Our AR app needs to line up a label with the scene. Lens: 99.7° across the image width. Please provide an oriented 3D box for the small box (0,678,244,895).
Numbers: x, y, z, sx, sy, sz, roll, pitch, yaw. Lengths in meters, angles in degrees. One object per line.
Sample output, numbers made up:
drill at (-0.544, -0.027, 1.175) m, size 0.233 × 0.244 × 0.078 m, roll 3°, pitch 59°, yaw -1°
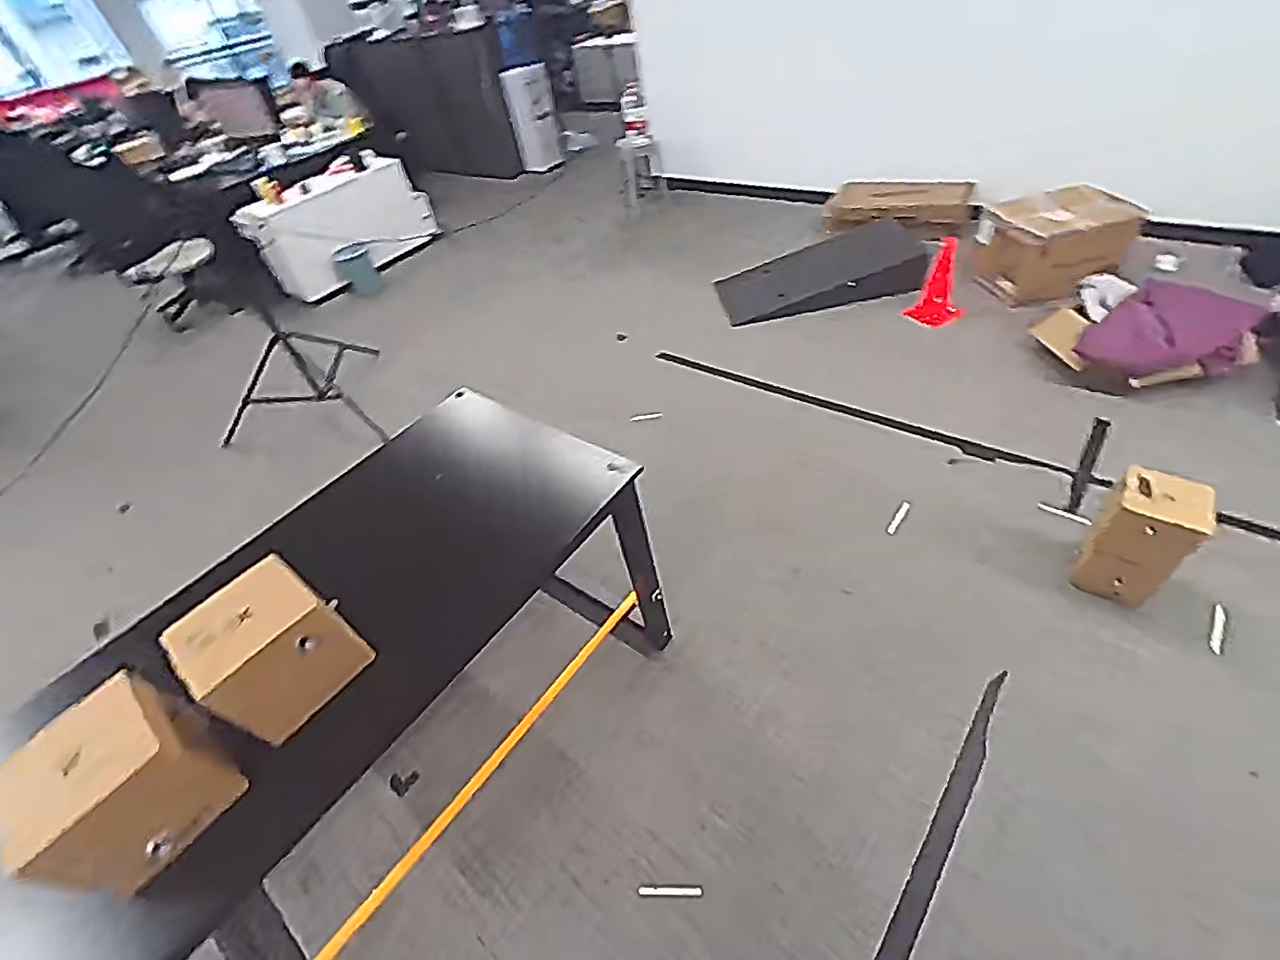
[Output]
small box at (-0.682, 0.405, 0.713) m, size 0.179 × 0.176 × 0.168 m, roll 24°, pitch 57°, yaw 30°

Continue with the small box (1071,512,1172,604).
small box at (1.331, 0.212, 1.495) m, size 0.168 × 0.176 × 0.179 m, roll 22°, pitch 55°, yaw 29°

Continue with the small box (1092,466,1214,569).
small box at (1.299, 0.098, 1.379) m, size 0.179 × 0.176 × 0.168 m, roll 23°, pitch 55°, yaw 29°
